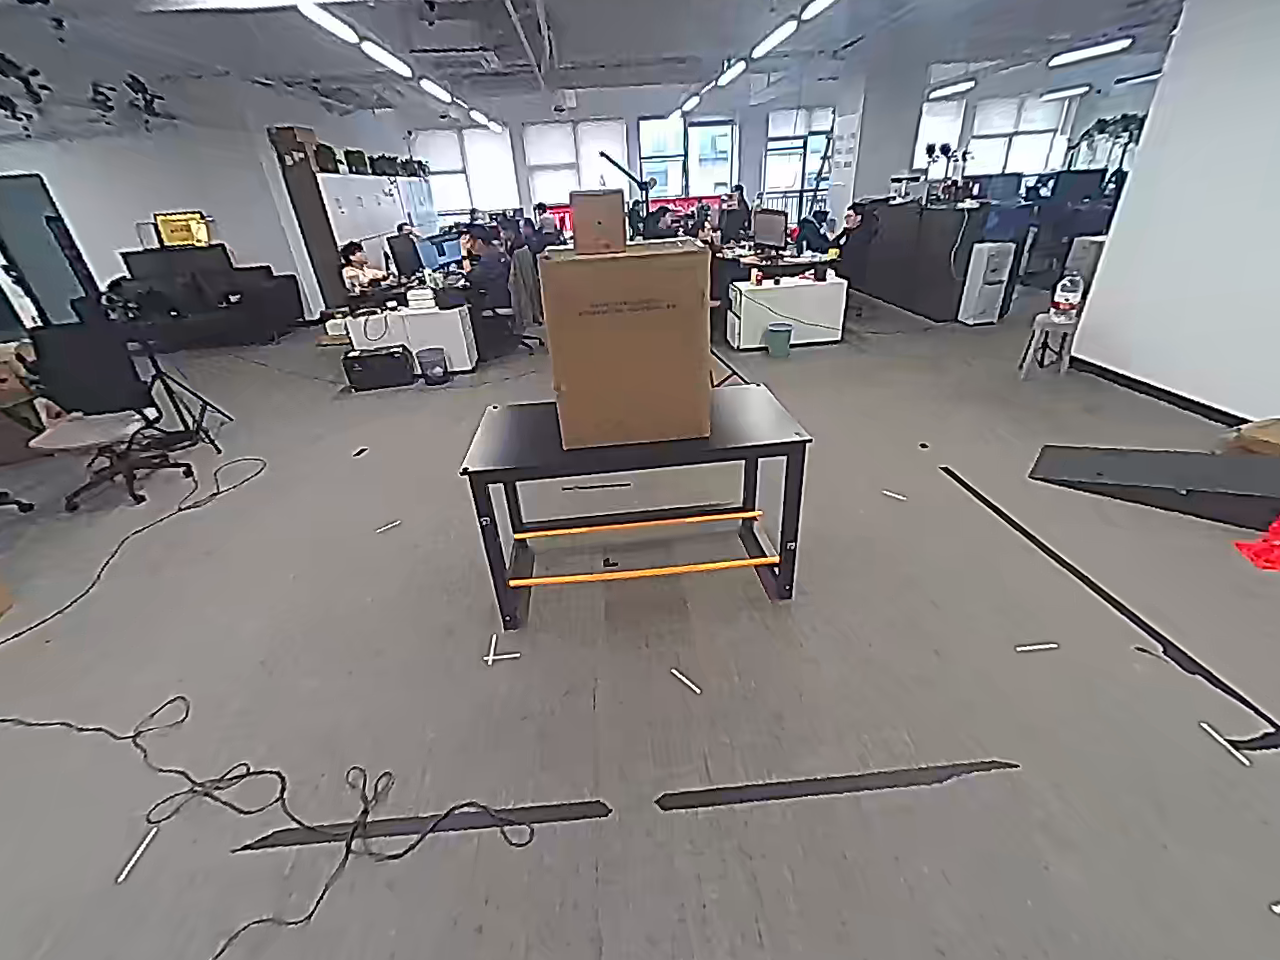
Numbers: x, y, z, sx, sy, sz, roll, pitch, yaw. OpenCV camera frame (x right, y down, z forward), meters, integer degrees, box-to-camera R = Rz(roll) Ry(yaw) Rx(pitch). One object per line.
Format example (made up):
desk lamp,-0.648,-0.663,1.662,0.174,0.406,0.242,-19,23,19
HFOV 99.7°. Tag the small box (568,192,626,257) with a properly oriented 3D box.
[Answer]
small box,-0.133,-0.805,1.708,0.168,0.176,0.179,-4,31,-2
